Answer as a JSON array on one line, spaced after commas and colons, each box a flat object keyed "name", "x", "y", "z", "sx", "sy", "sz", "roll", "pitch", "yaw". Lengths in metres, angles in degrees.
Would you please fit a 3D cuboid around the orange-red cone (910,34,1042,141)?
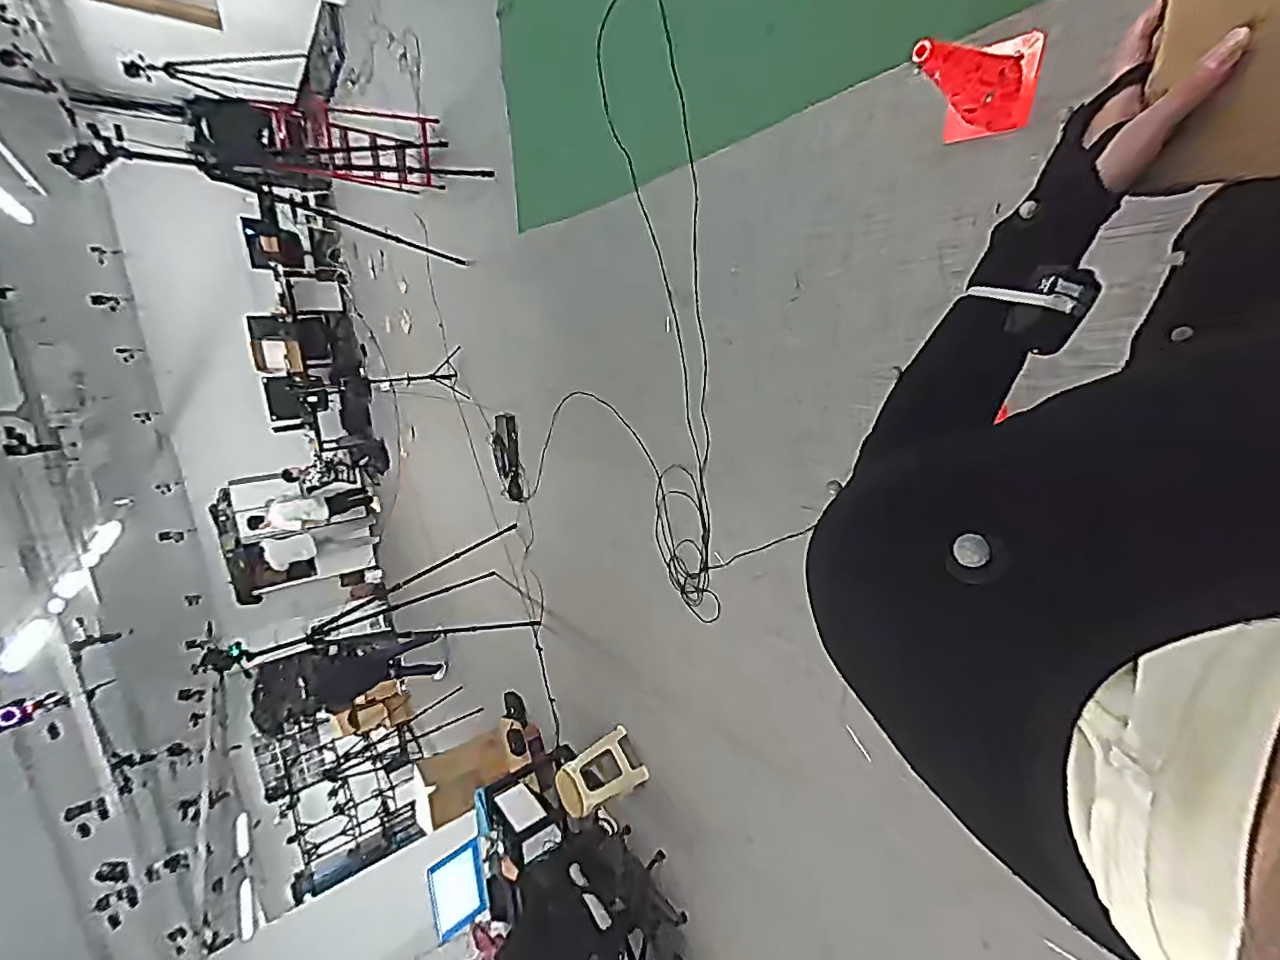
[{"name": "orange-red cone", "x": 0.729, "y": -0.938, "z": 1.247, "sx": 0.199, "sy": 0.360, "sz": 0.198, "roll": 25, "pitch": 120, "yaw": 49}]
